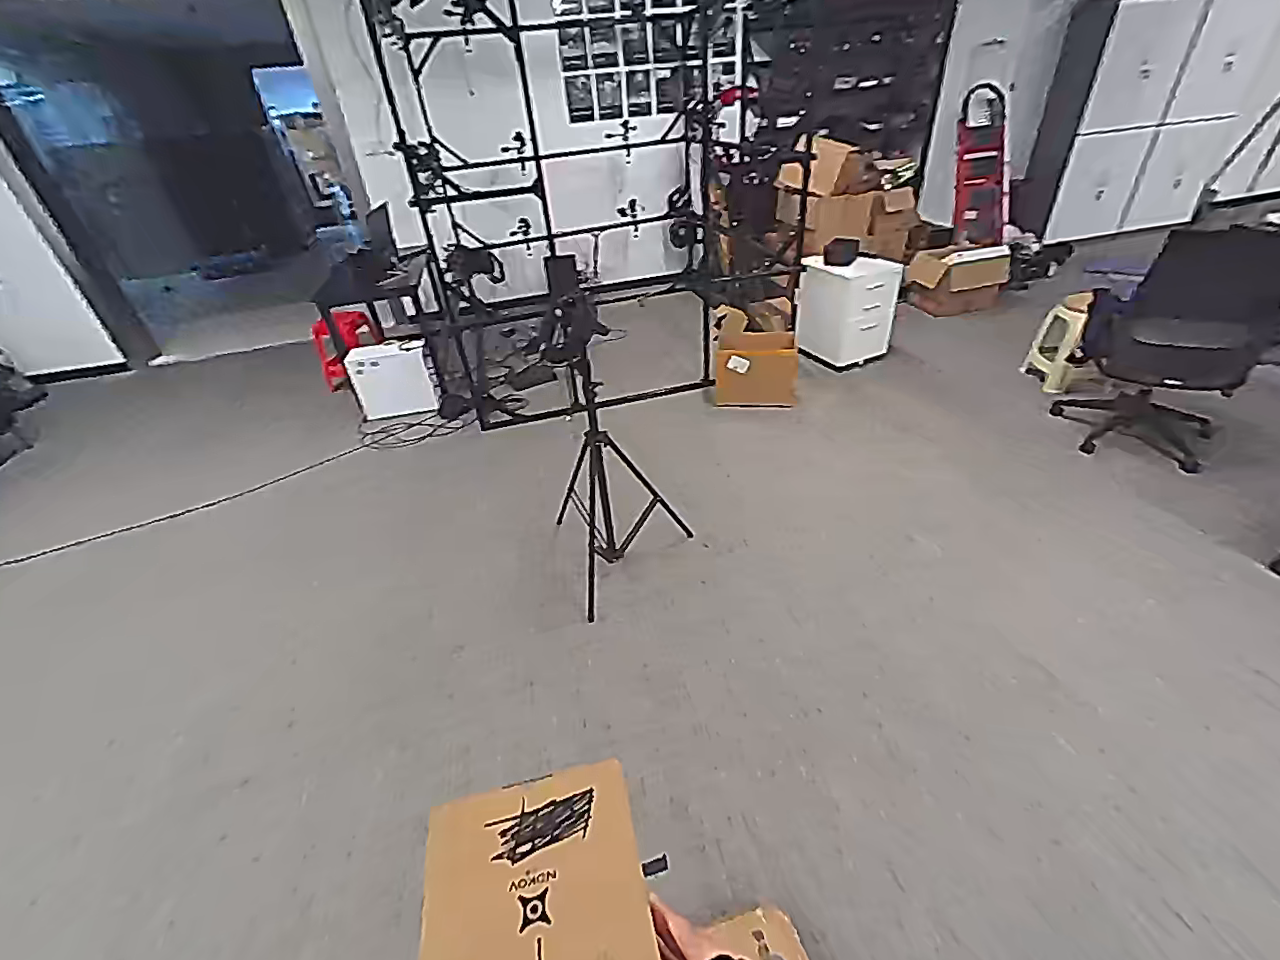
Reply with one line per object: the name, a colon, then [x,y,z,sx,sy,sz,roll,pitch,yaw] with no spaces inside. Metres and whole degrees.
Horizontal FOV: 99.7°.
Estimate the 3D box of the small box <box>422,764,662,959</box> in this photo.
small box: [-0.073,0.381,0.448,0.168,0.176,0.179,-11,34,-9]
